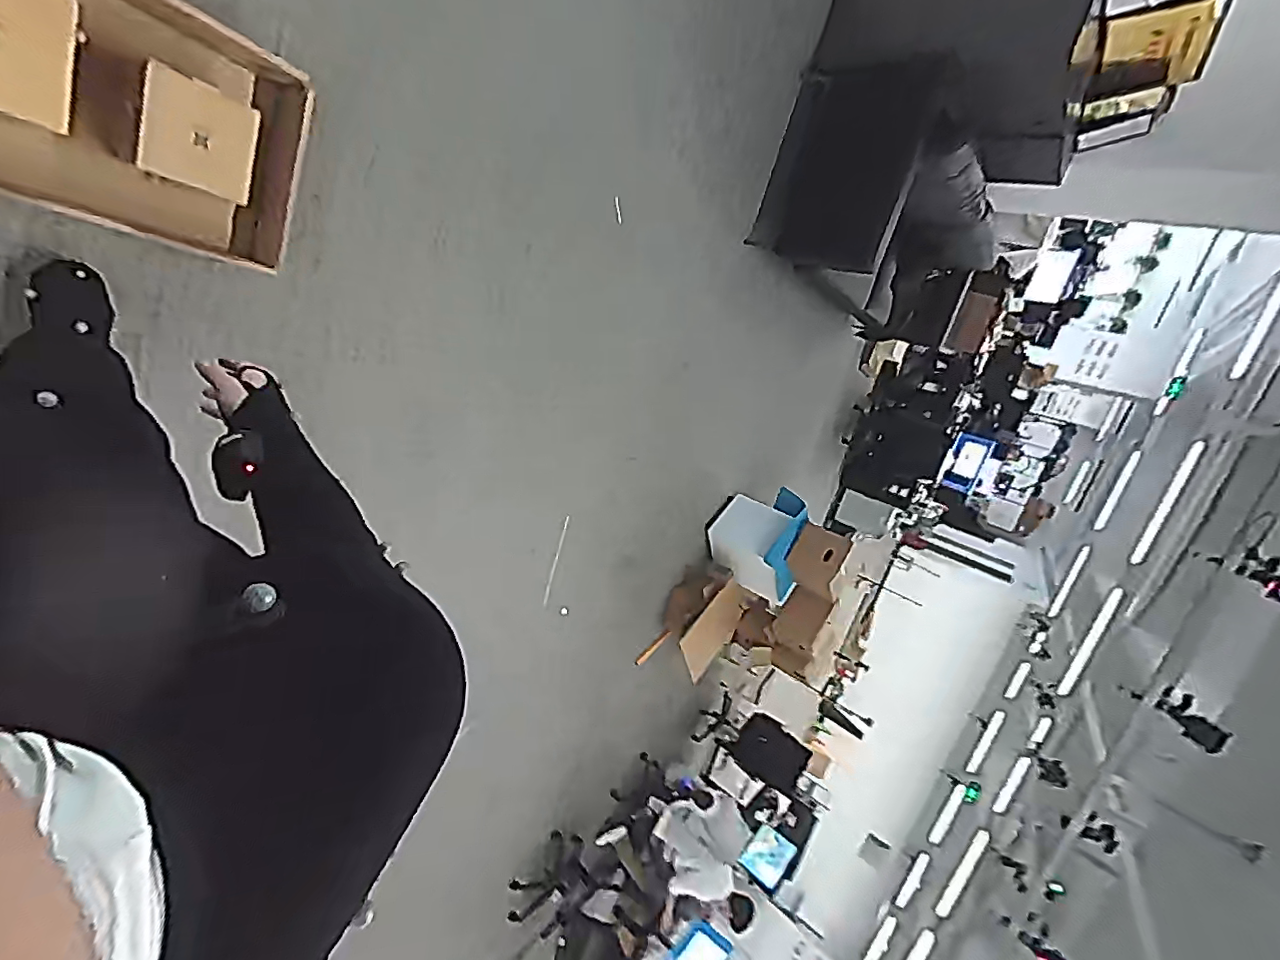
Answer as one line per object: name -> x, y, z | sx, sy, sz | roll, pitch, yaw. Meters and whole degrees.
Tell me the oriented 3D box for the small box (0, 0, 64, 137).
small box -> -0.894, -0.583, 0.708 | 0.168, 0.176, 0.179 | -1, 112, -56
